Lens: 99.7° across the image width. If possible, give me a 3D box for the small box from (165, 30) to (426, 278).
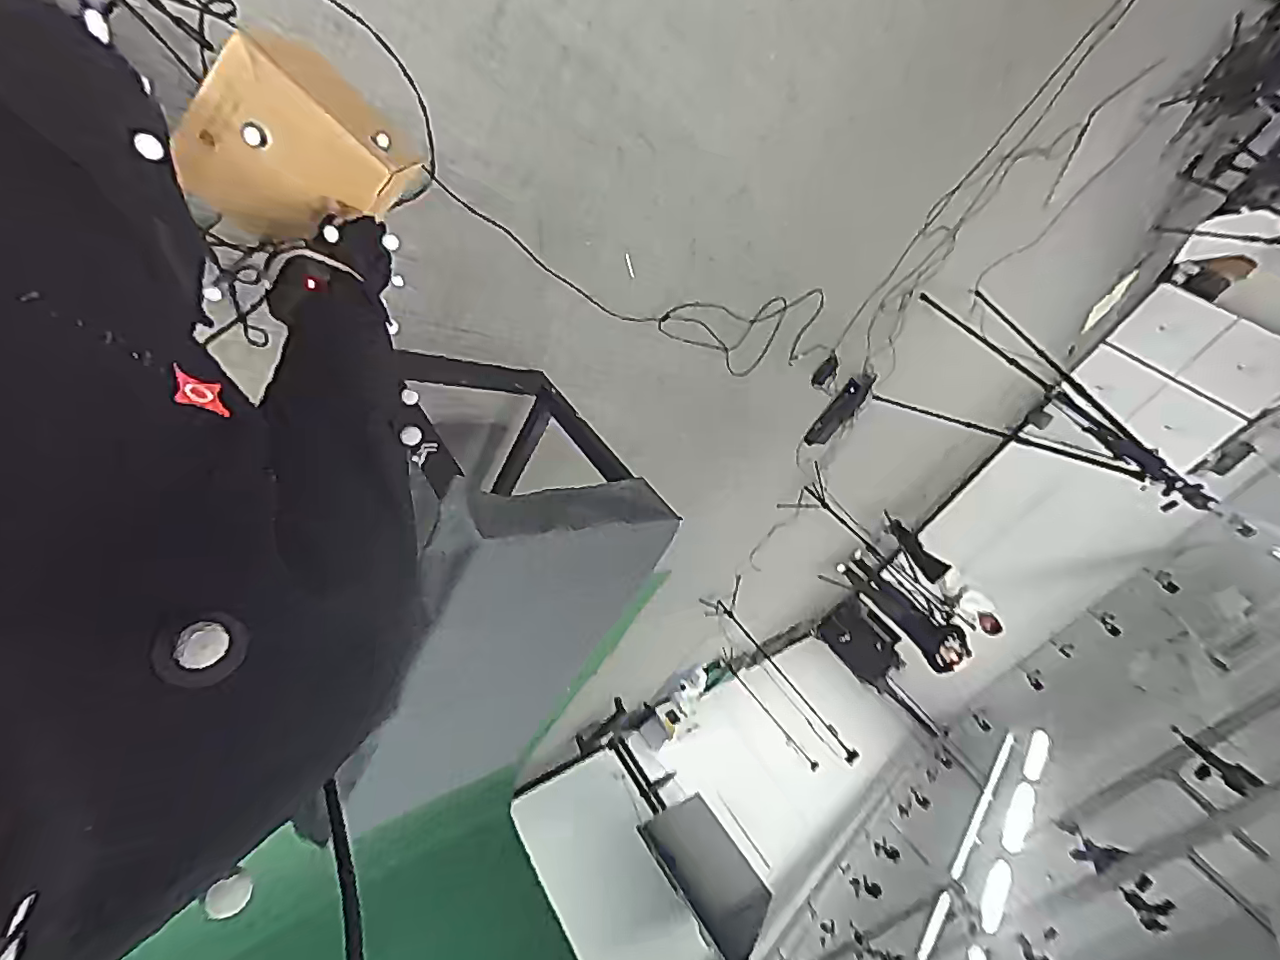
[{"bbox_3d":[-0.386,-0.377,0.633,0.168,0.179,0.176,-38,122,17],"label":"small box"}]
